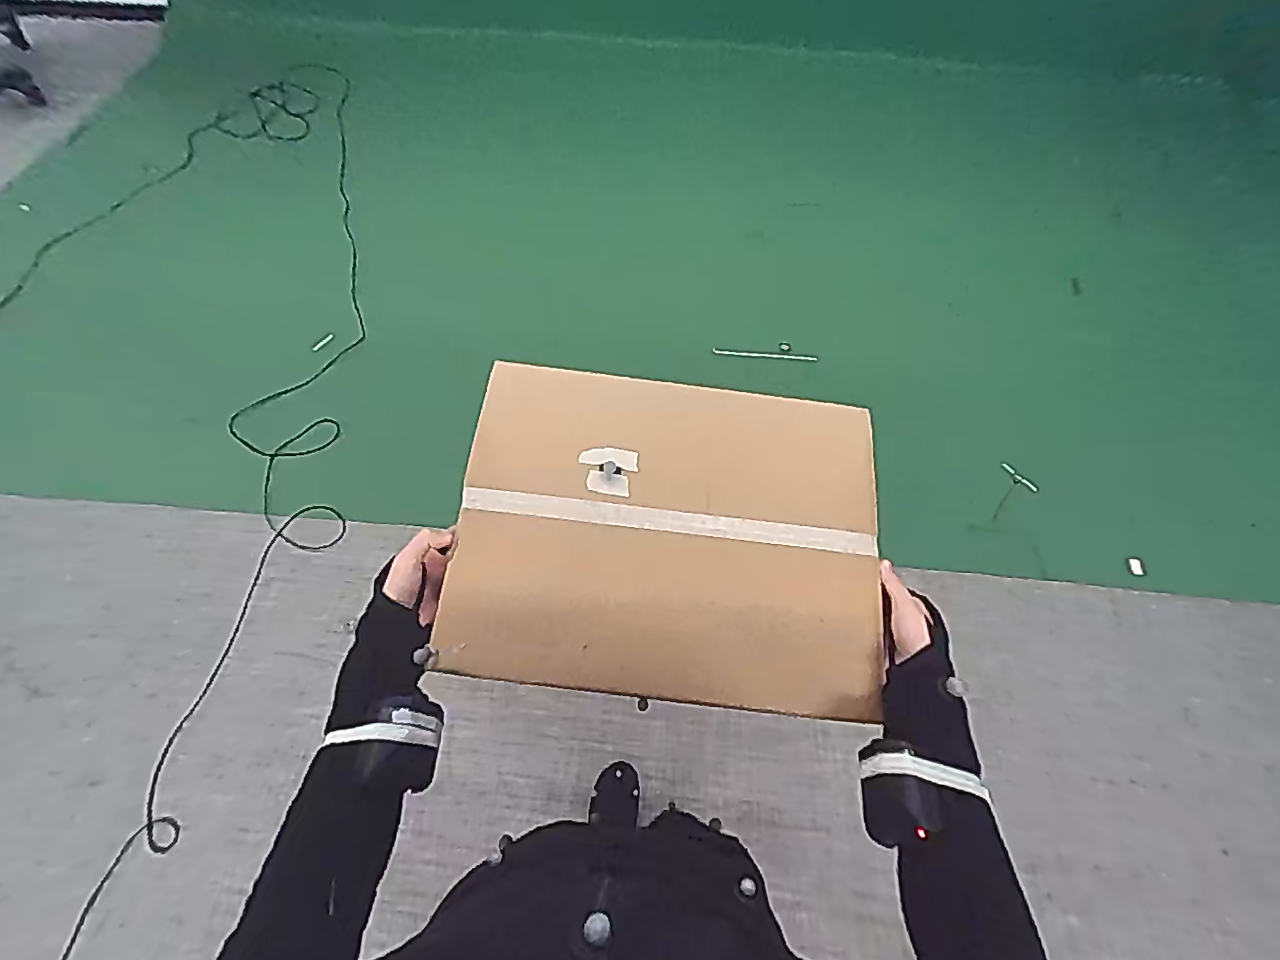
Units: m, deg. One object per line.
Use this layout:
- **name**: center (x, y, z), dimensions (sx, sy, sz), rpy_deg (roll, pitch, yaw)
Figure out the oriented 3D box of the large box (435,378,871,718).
- **large box**: center (0.022, 0.102, 0.676), dimensions (0.408, 0.320, 0.320), rpy_deg (7, 68, 0)
